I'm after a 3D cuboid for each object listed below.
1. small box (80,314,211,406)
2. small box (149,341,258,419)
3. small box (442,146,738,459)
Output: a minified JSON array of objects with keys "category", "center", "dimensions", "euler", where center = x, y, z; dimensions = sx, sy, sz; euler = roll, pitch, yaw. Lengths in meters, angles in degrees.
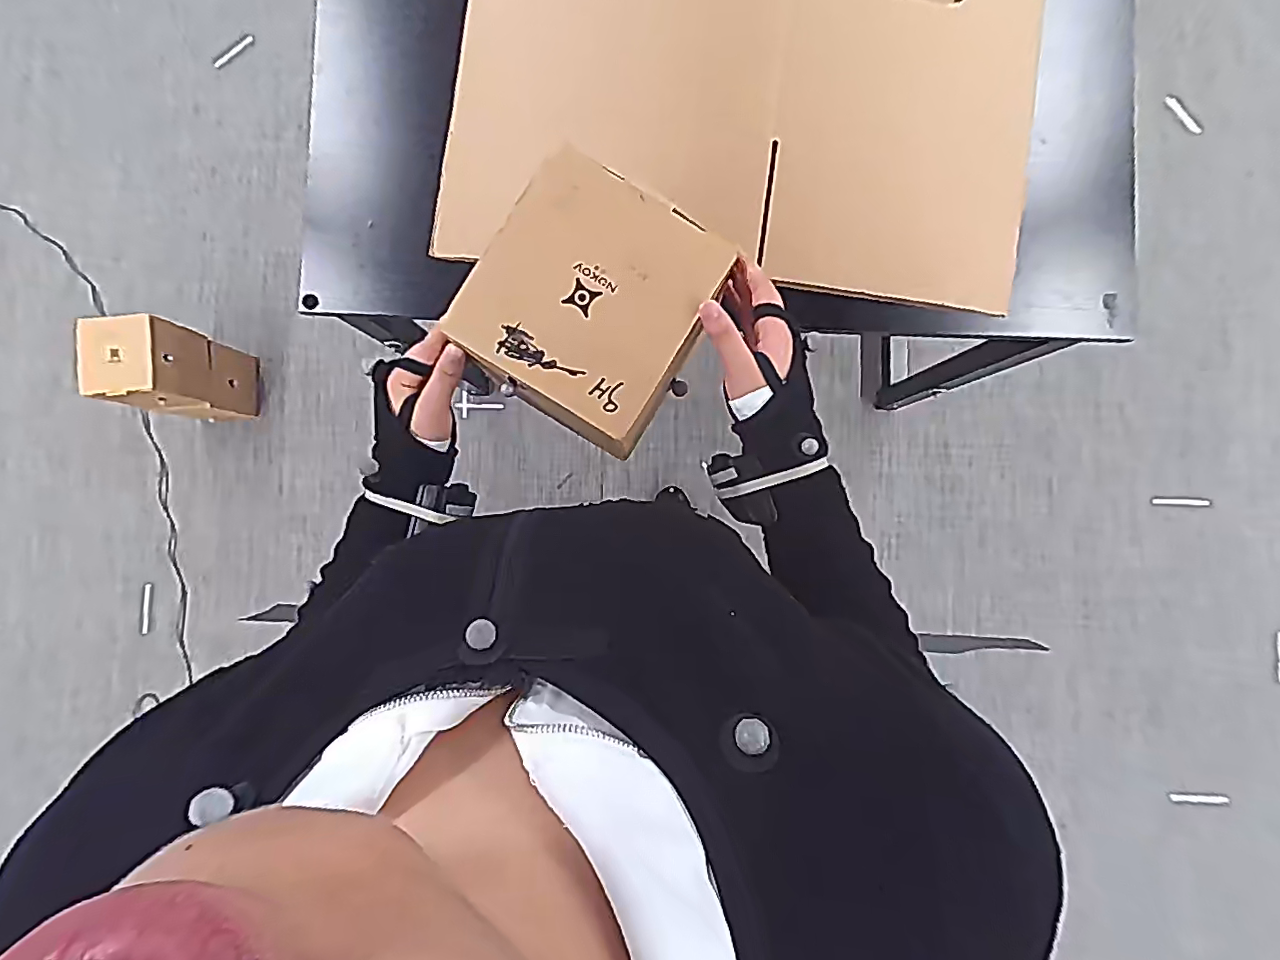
[{"category":"small box","center":[-1.162,-0.275,1.284],"dimensions":[0.168,0.176,0.179],"euler":[-5,86,-1]},{"category":"small box","center":[-1.159,-0.262,1.445],"dimensions":[0.168,0.176,0.179],"euler":[-2,88,1]},{"category":"small box","center":[-0.038,-0.139,0.489],"dimensions":[0.168,0.176,0.179],"euler":[32,86,3]}]
